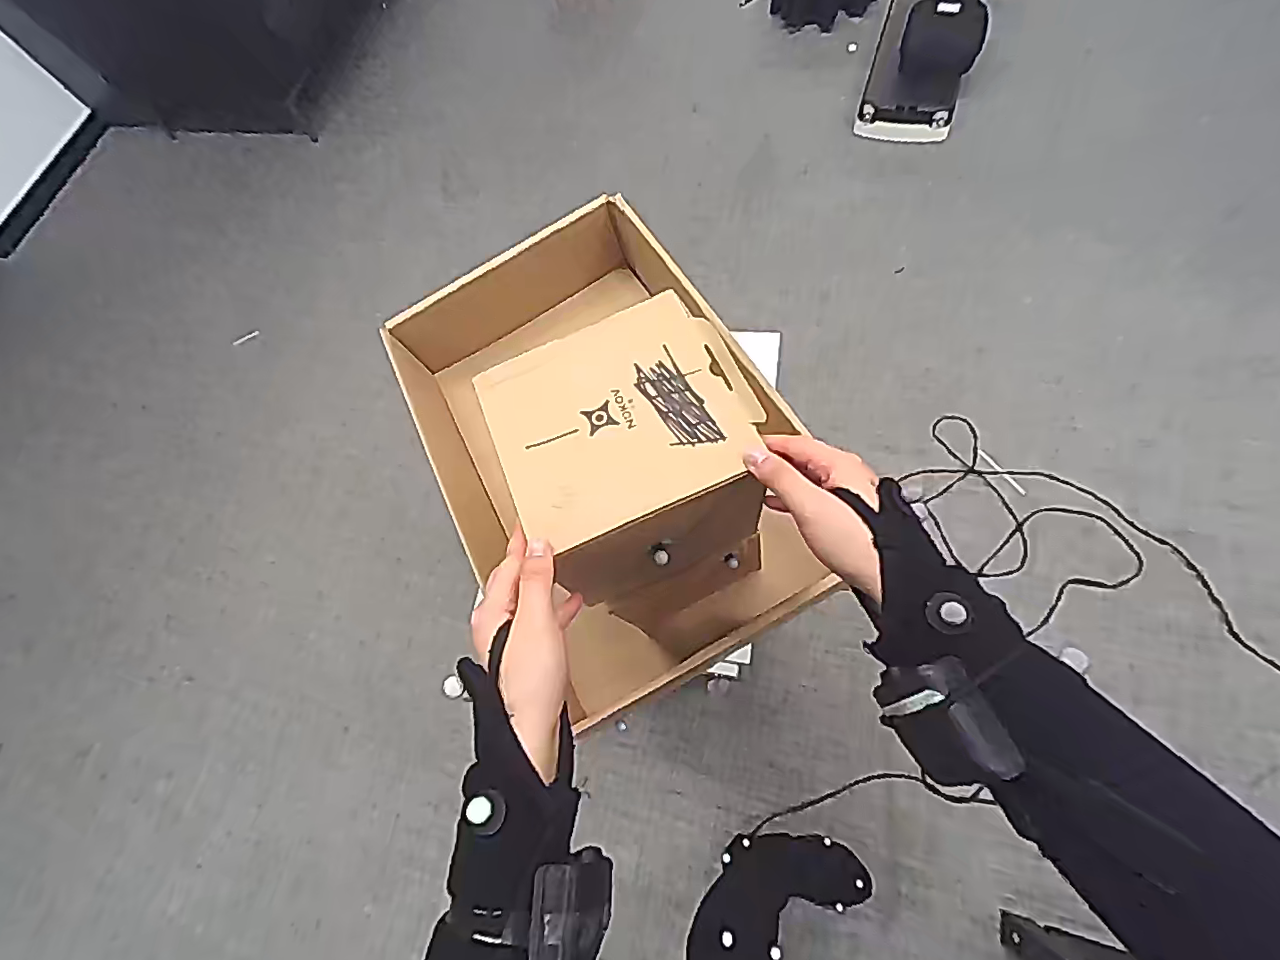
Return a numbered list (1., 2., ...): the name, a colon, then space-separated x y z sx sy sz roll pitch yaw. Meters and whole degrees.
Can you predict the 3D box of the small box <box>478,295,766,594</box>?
1. small box: -0.010 -0.018 0.474 0.179 0.176 0.168 -24 66 -1
